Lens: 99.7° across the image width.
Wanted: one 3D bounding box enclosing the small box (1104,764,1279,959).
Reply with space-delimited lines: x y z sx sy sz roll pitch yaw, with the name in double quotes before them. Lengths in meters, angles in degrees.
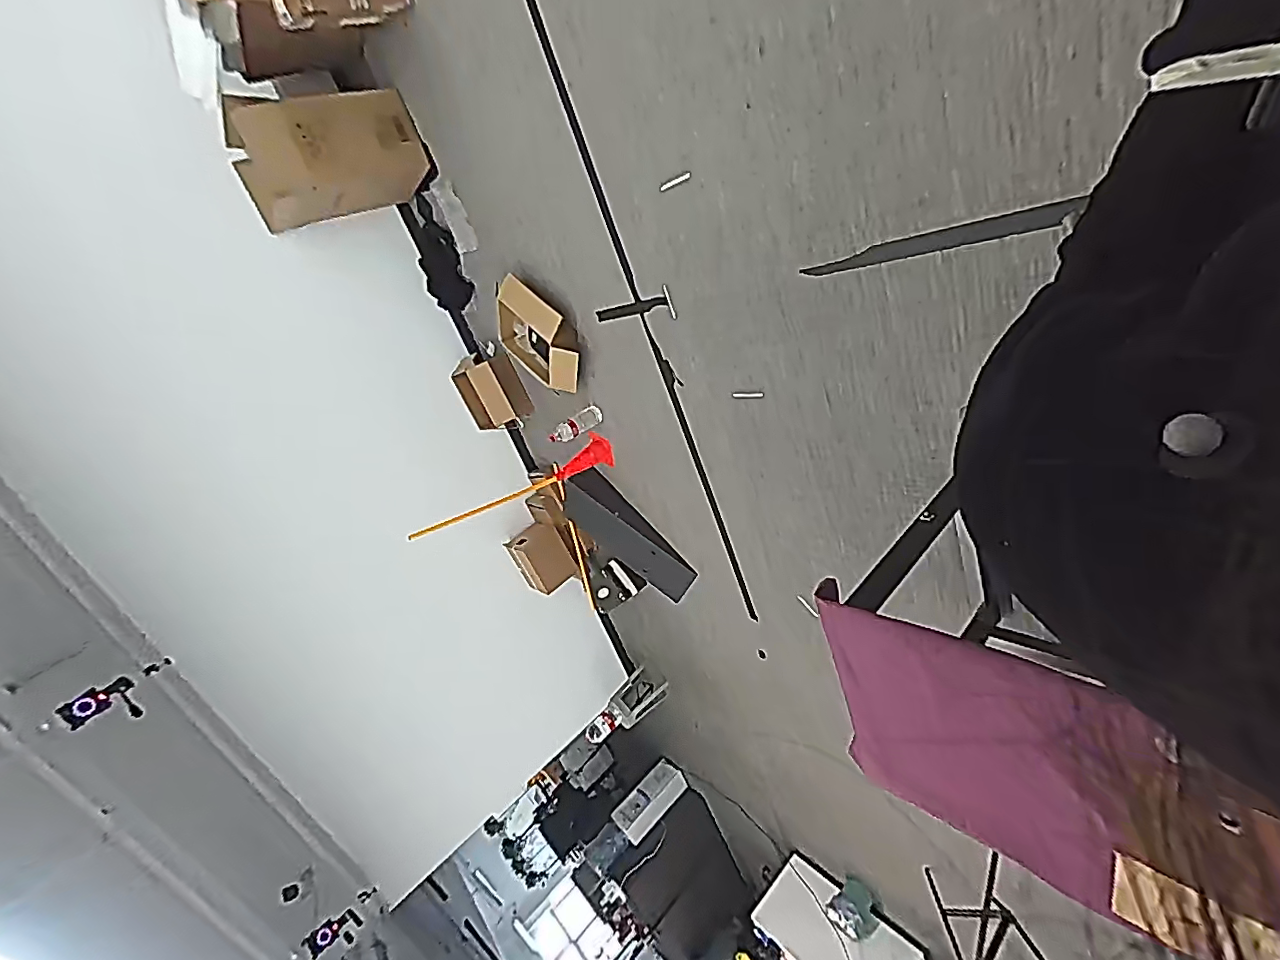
"small box" 0.811 0.569 0.793 0.168 0.176 0.179 11 129 49
